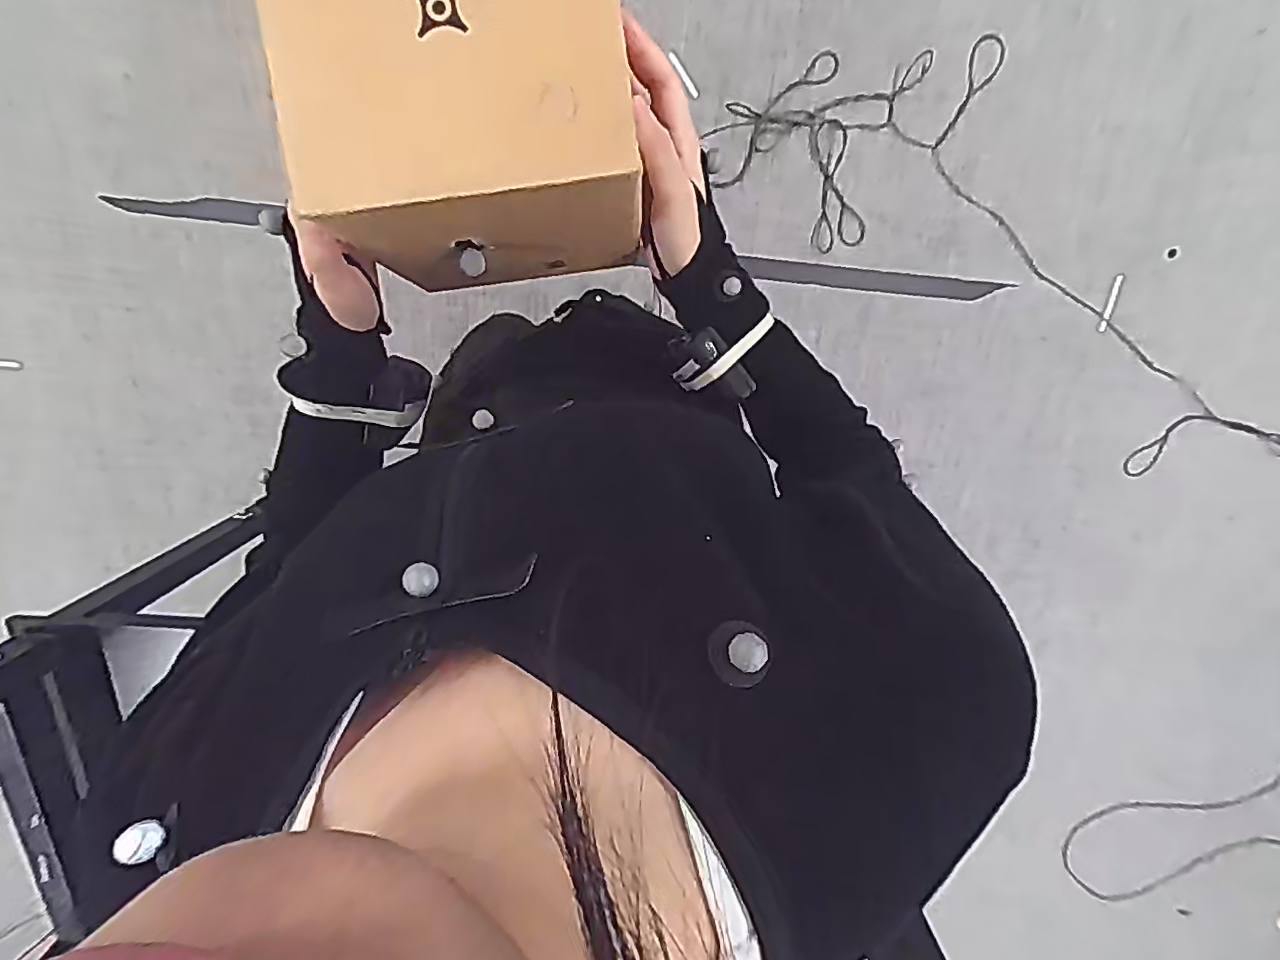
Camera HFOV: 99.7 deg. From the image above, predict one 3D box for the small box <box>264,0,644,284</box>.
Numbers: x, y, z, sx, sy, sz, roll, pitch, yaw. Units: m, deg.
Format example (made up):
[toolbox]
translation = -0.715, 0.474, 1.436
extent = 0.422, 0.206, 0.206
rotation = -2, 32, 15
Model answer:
[small box]
translation = -0.088, -0.228, 0.324
extent = 0.168, 0.176, 0.179
rotation = -8, 96, 0
